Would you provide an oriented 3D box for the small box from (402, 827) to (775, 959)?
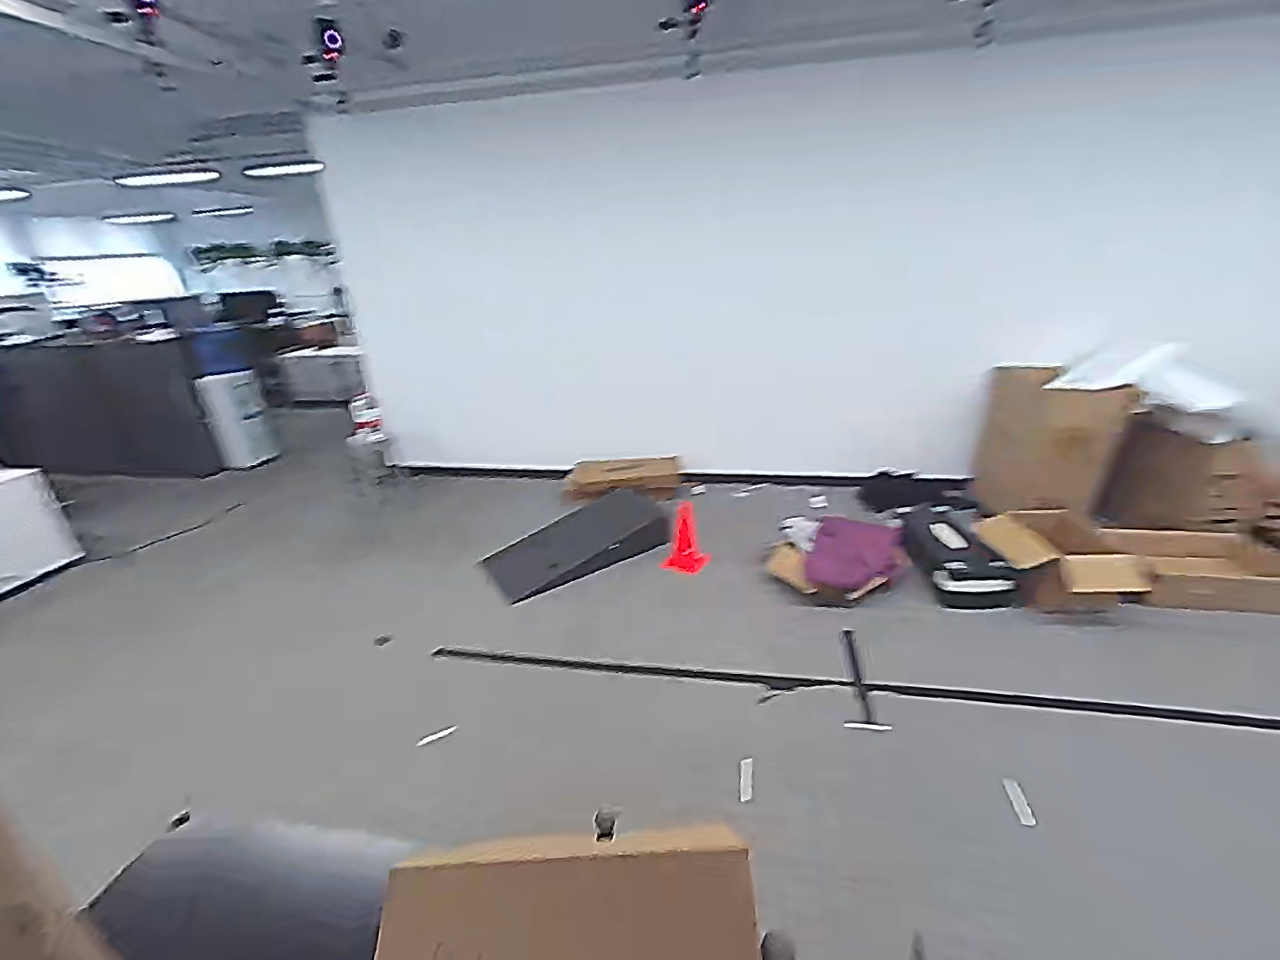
[{"bbox_3d":[-0.016,0.285,0.279,0.168,0.176,0.179,-4,58,4],"label":"small box"}]
